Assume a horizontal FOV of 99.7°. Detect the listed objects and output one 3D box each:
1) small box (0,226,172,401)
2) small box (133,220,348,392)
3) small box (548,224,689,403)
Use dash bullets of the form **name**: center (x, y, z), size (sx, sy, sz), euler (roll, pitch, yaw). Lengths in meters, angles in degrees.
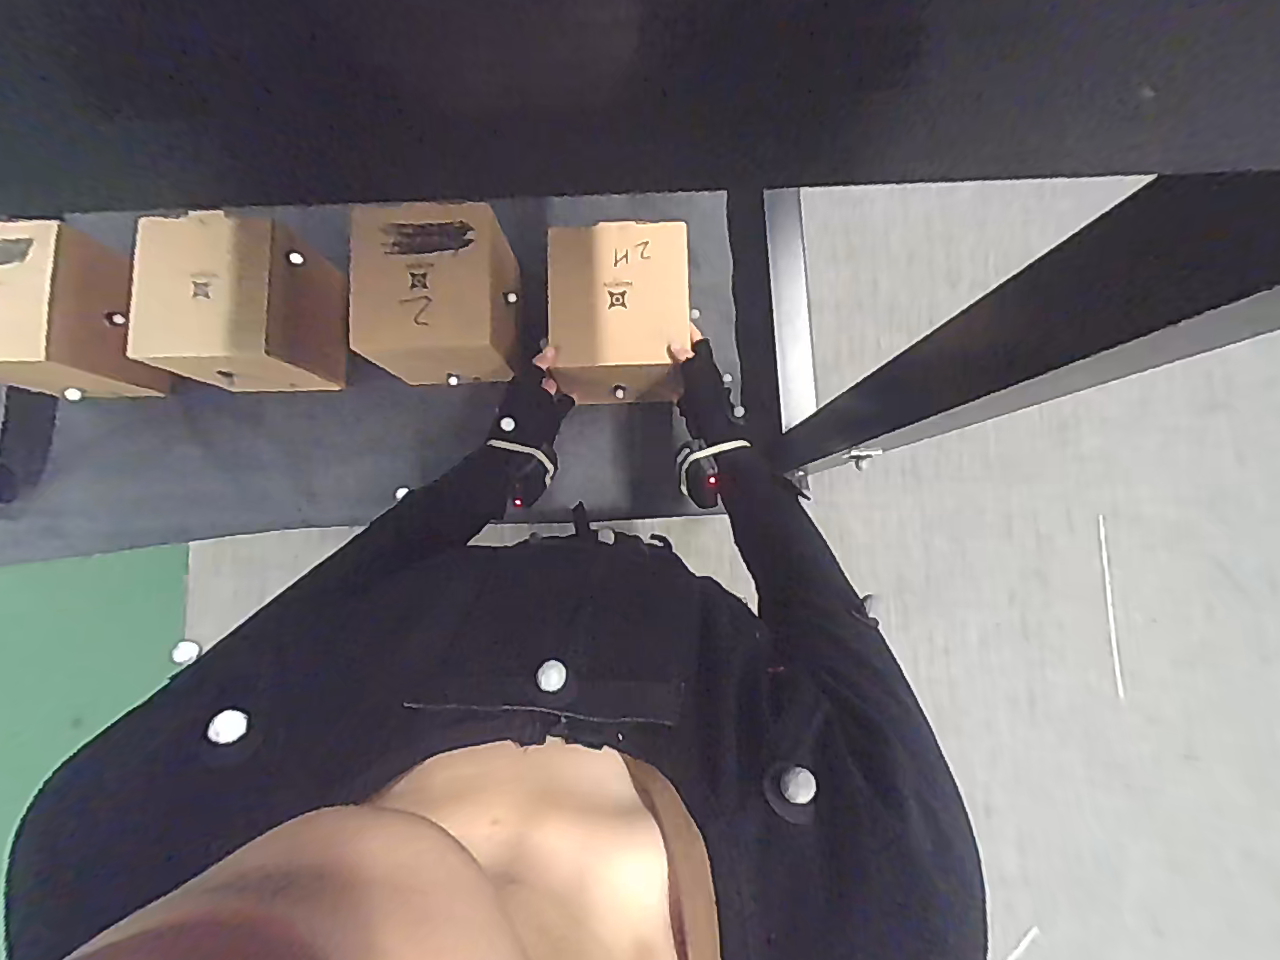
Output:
- **small box**: center (-0.768, -0.211, 0.721), size (0.168, 0.176, 0.179), euler (-1, 85, 0)
- **small box**: center (-0.515, -0.218, 0.722), size (0.168, 0.176, 0.179), euler (-1, 84, 0)
- **small box**: center (-0.024, -0.204, 0.711), size (0.168, 0.176, 0.179), euler (-3, 81, 1)
